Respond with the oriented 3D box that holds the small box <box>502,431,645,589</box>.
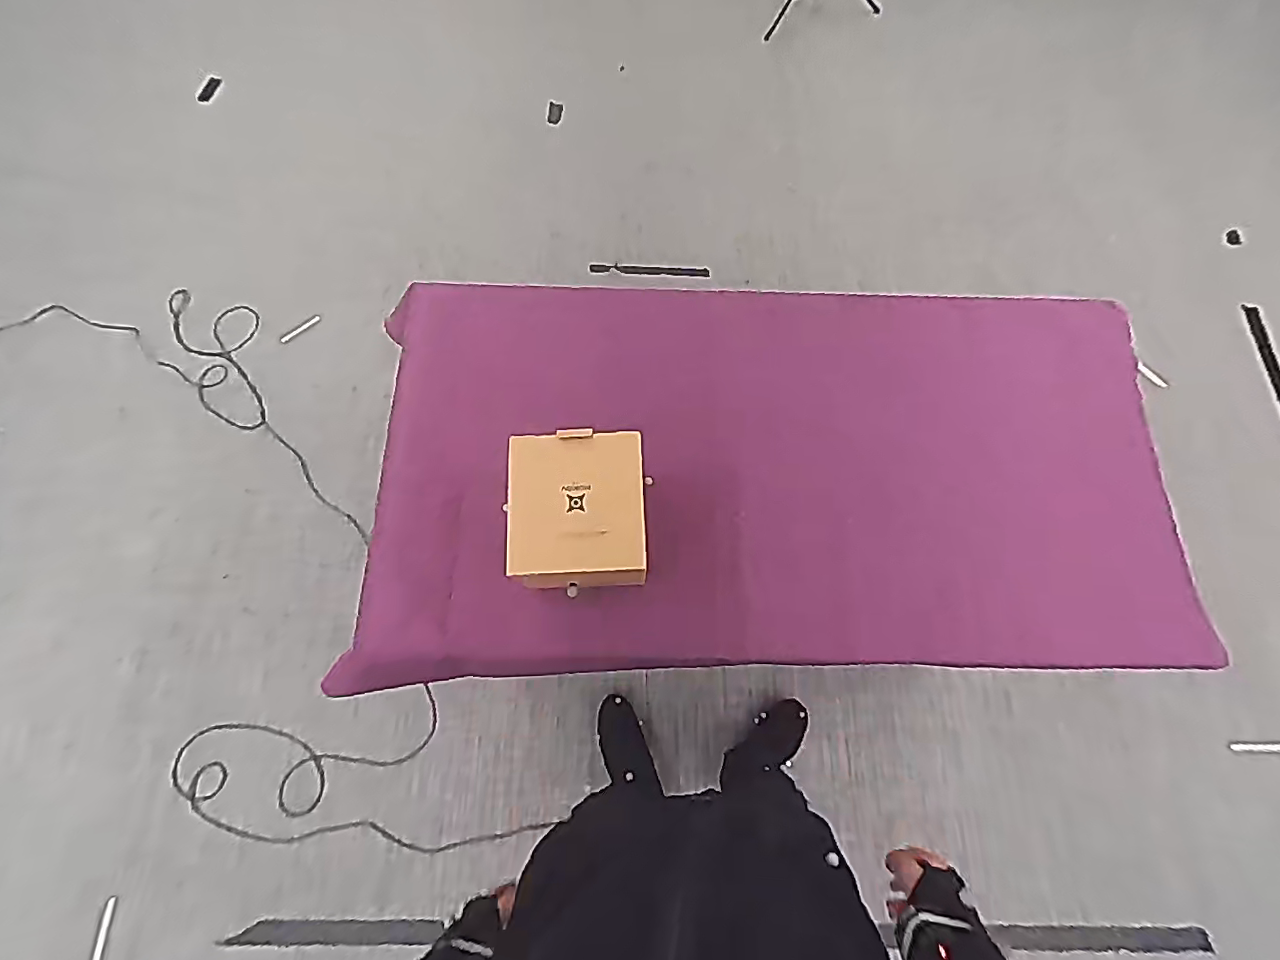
[{"bbox_3d":[-0.080,0.046,0.721,0.168,0.176,0.179,-2,73,-1],"label":"small box"}]
